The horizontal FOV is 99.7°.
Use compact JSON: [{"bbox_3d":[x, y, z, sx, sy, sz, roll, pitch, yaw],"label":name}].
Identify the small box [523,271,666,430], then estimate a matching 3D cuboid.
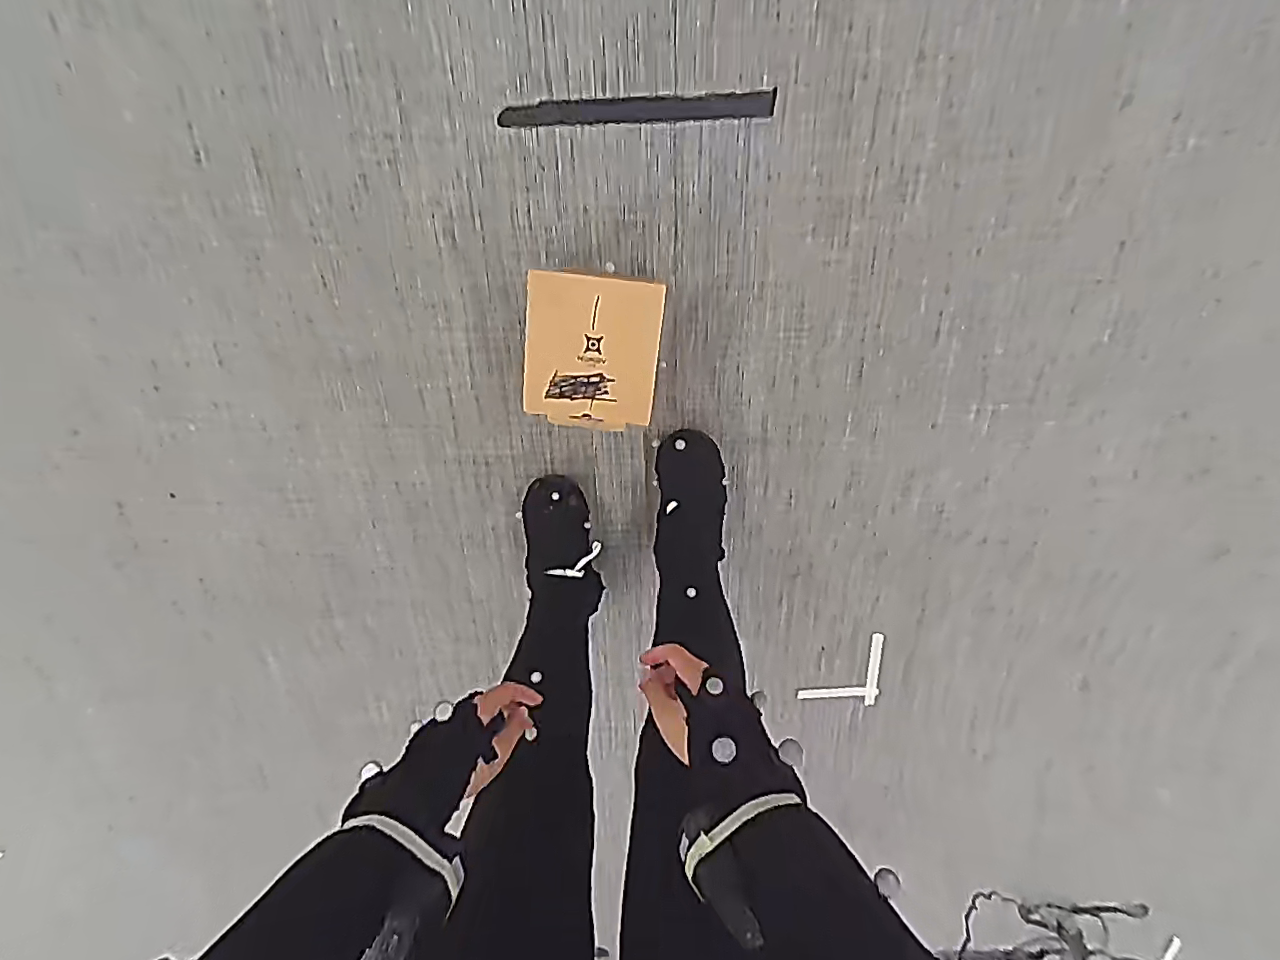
[{"bbox_3d":[-0.058,-0.182,0.737,0.168,0.176,0.179,6,111,-2],"label":"small box"}]
